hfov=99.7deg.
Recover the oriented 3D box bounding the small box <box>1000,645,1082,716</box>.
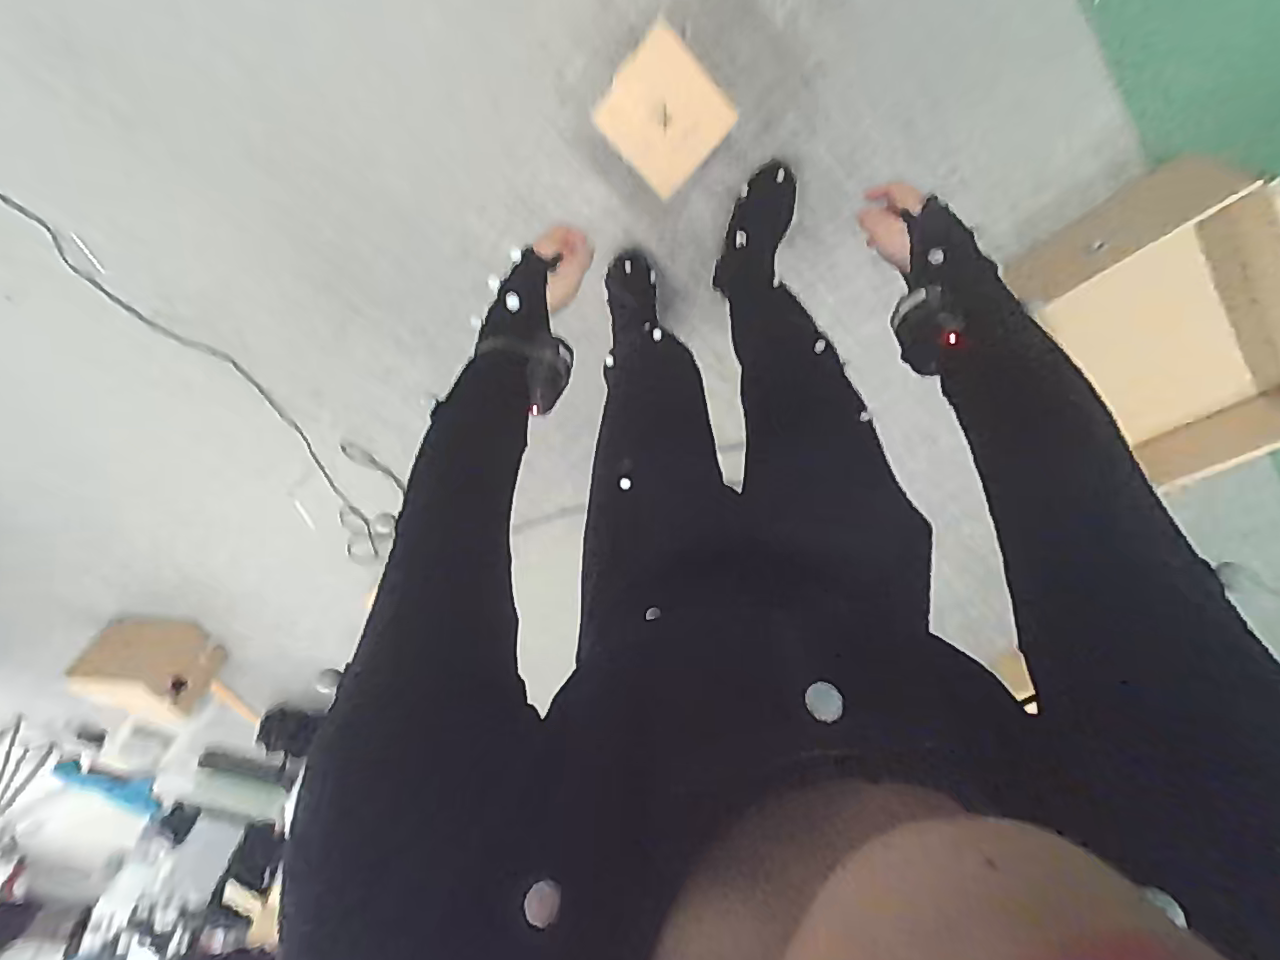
[{"bbox_3d":[1.447,0.725,1.957,0.168,0.176,0.179,-31,122,30],"label":"small box"}]

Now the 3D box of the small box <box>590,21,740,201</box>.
[{"bbox_3d":[0.044,-0.609,0.893,0.179,0.176,0.168,35,129,-25],"label":"small box"}]

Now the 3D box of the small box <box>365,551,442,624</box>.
[{"bbox_3d":[-0.837,0.382,1.928,0.179,0.176,0.168,34,127,-24],"label":"small box"}]
